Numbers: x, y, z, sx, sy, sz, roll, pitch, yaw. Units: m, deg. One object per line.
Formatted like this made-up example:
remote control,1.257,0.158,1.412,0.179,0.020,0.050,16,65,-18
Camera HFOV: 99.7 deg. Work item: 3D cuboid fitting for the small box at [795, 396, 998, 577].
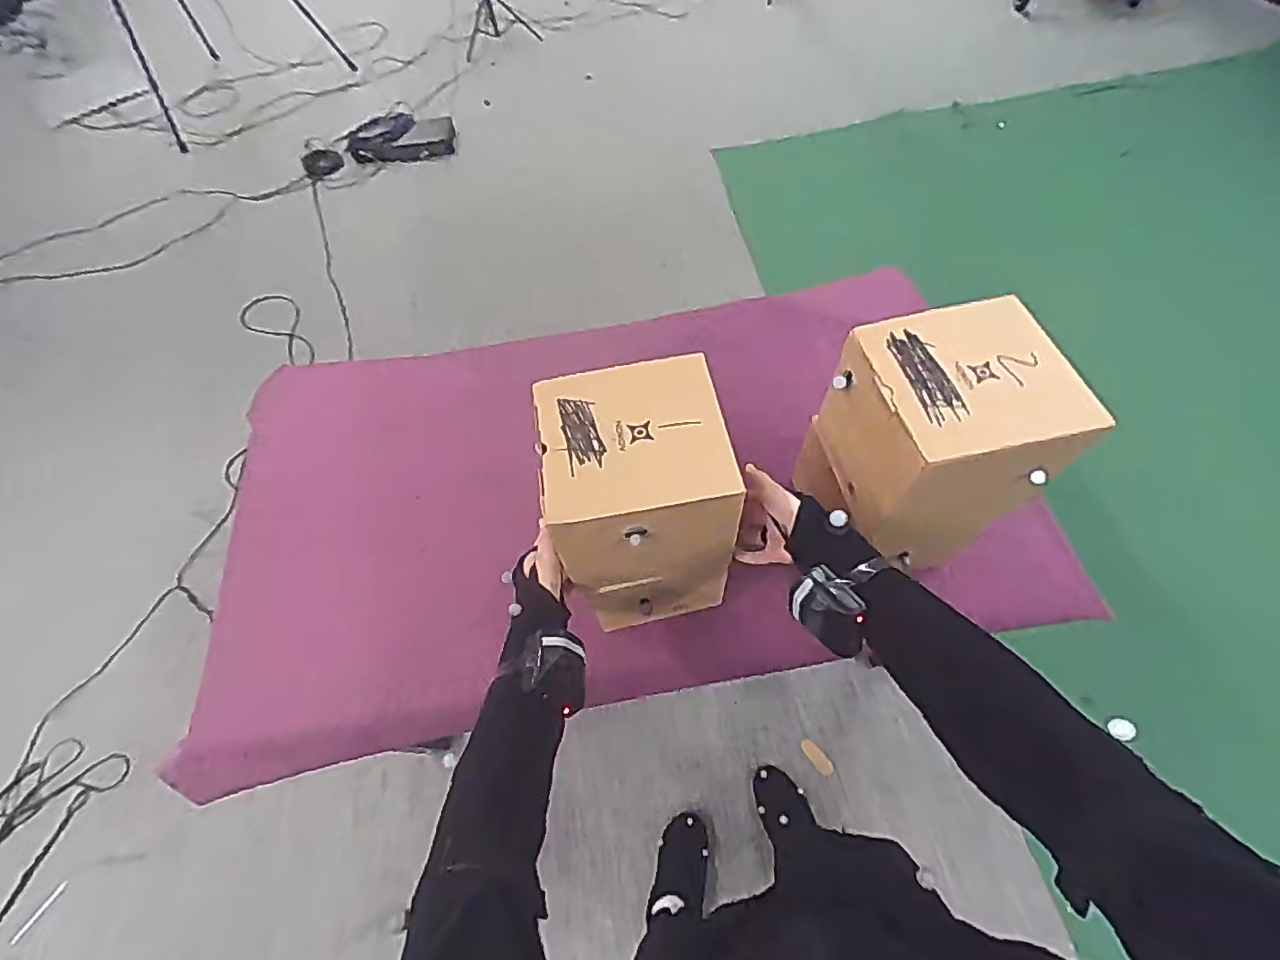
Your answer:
small box,0.319,0.018,0.717,0.168,0.176,0.179,-9,60,-1

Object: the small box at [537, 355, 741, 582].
small box,-0.003,-0.004,0.568,0.179,0.176,0.168,-8,59,-2

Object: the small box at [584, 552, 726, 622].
small box,0.009,0.076,0.711,0.168,0.176,0.179,-13,59,-2
